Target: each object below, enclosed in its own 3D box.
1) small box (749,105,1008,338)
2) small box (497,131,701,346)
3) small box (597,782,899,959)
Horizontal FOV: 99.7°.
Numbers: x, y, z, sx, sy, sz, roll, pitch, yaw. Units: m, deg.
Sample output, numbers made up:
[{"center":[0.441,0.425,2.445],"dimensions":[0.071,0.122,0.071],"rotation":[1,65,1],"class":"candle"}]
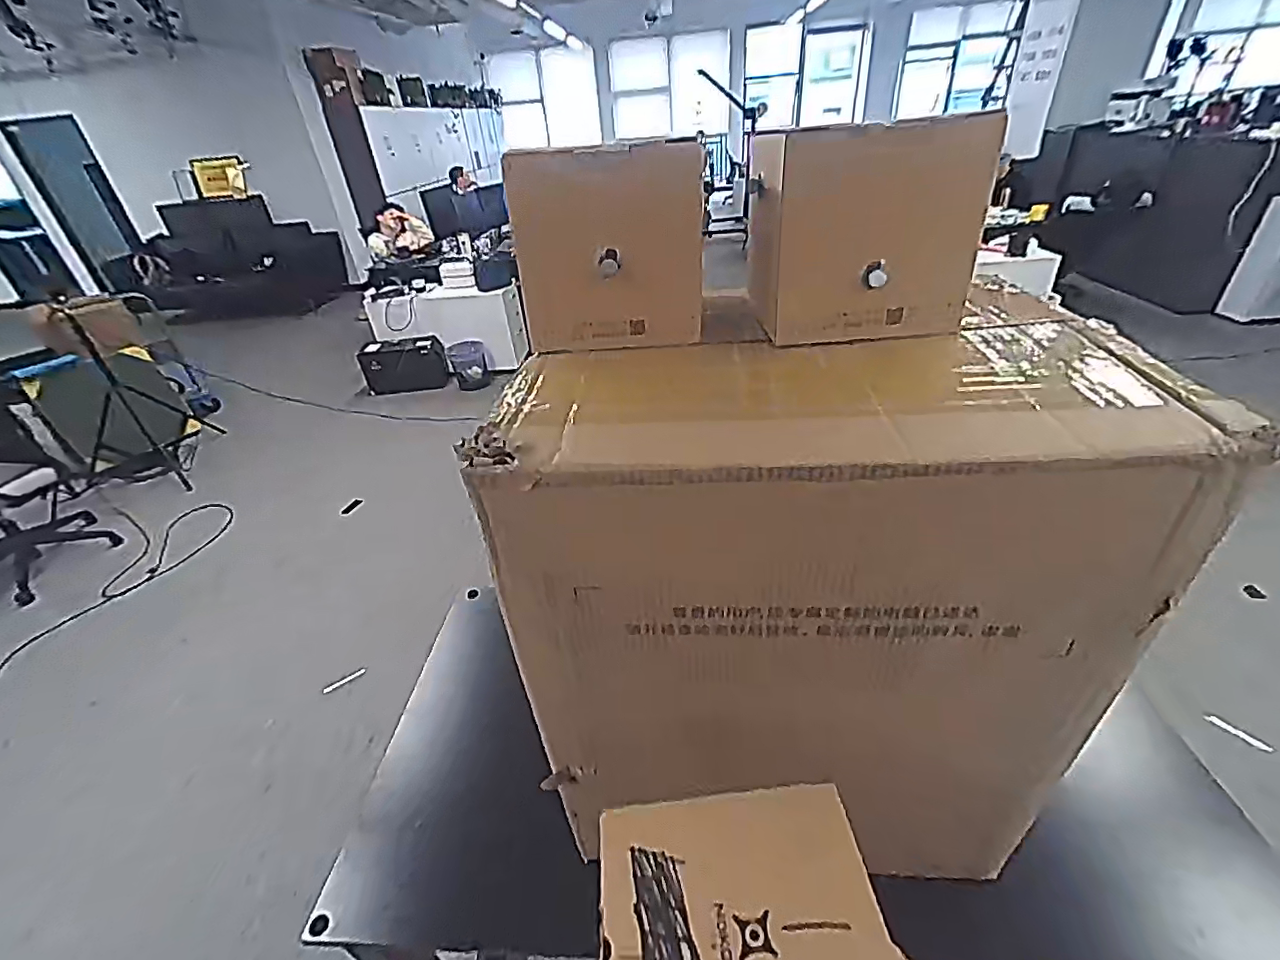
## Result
[{"center":[0.197,-0.242,0.512],"dimensions":[0.168,0.176,0.179],"rotation":[-3,32,4],"class":"small box"},{"center":[-0.029,-0.239,0.539],"dimensions":[0.168,0.176,0.179],"rotation":[-3,33,1],"class":"small box"},{"center":[0.072,0.339,0.365],"dimensions":[0.179,0.176,0.168],"rotation":[-8,33,2],"class":"small box"}]
